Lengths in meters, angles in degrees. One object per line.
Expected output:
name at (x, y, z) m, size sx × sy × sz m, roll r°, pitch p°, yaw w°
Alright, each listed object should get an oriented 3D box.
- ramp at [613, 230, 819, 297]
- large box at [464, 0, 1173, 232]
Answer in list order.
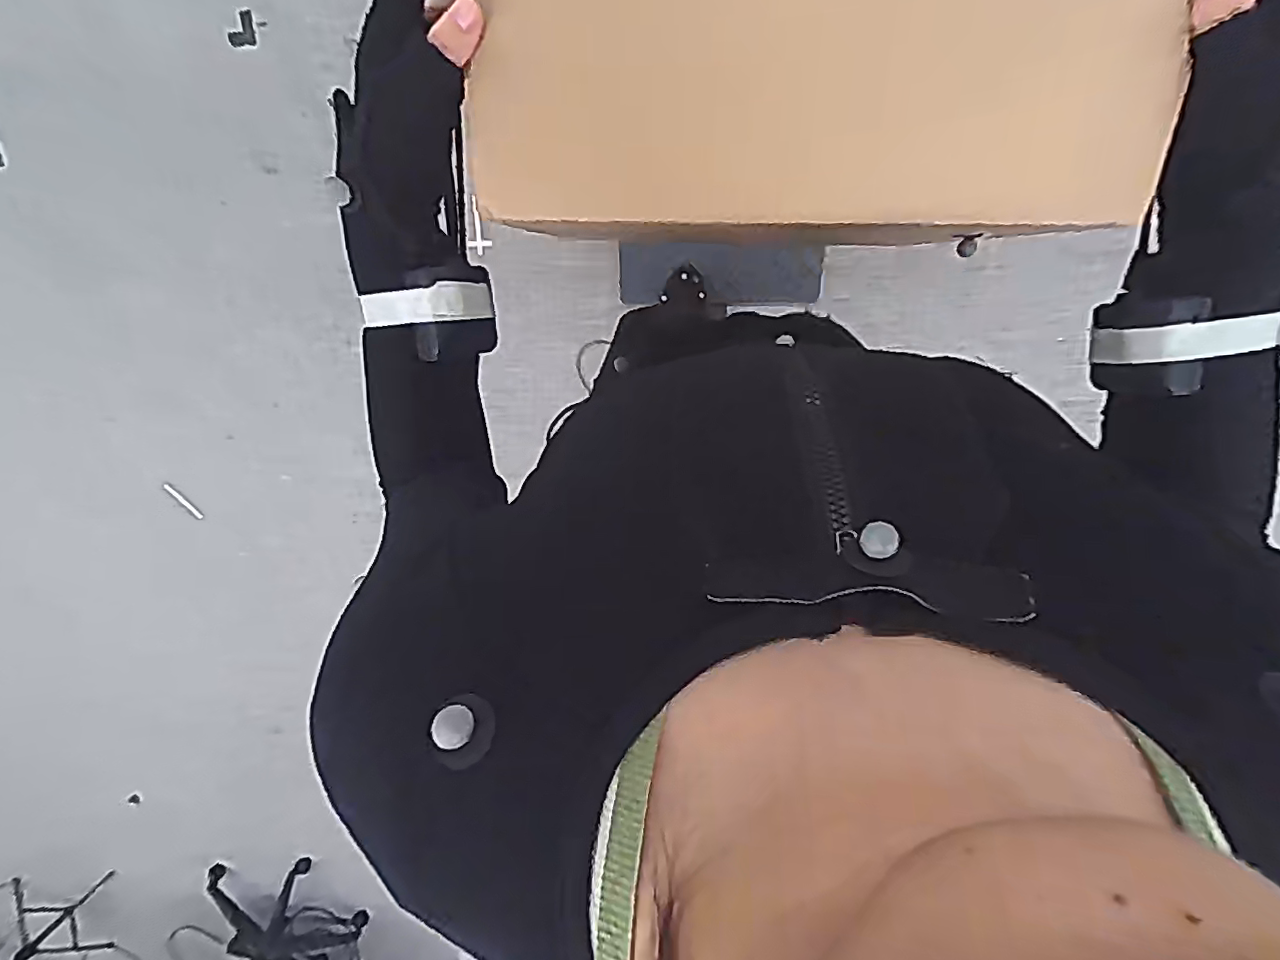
ramp at (0.172, -0.900, 1.119) m, size 0.509 × 0.206 × 0.991 m, roll -1°, pitch 109°, yaw 3°
large box at (0.104, -0.367, 0.422) m, size 0.408 × 0.320 × 0.320 m, roll 1°, pitch 112°, yaw 1°
